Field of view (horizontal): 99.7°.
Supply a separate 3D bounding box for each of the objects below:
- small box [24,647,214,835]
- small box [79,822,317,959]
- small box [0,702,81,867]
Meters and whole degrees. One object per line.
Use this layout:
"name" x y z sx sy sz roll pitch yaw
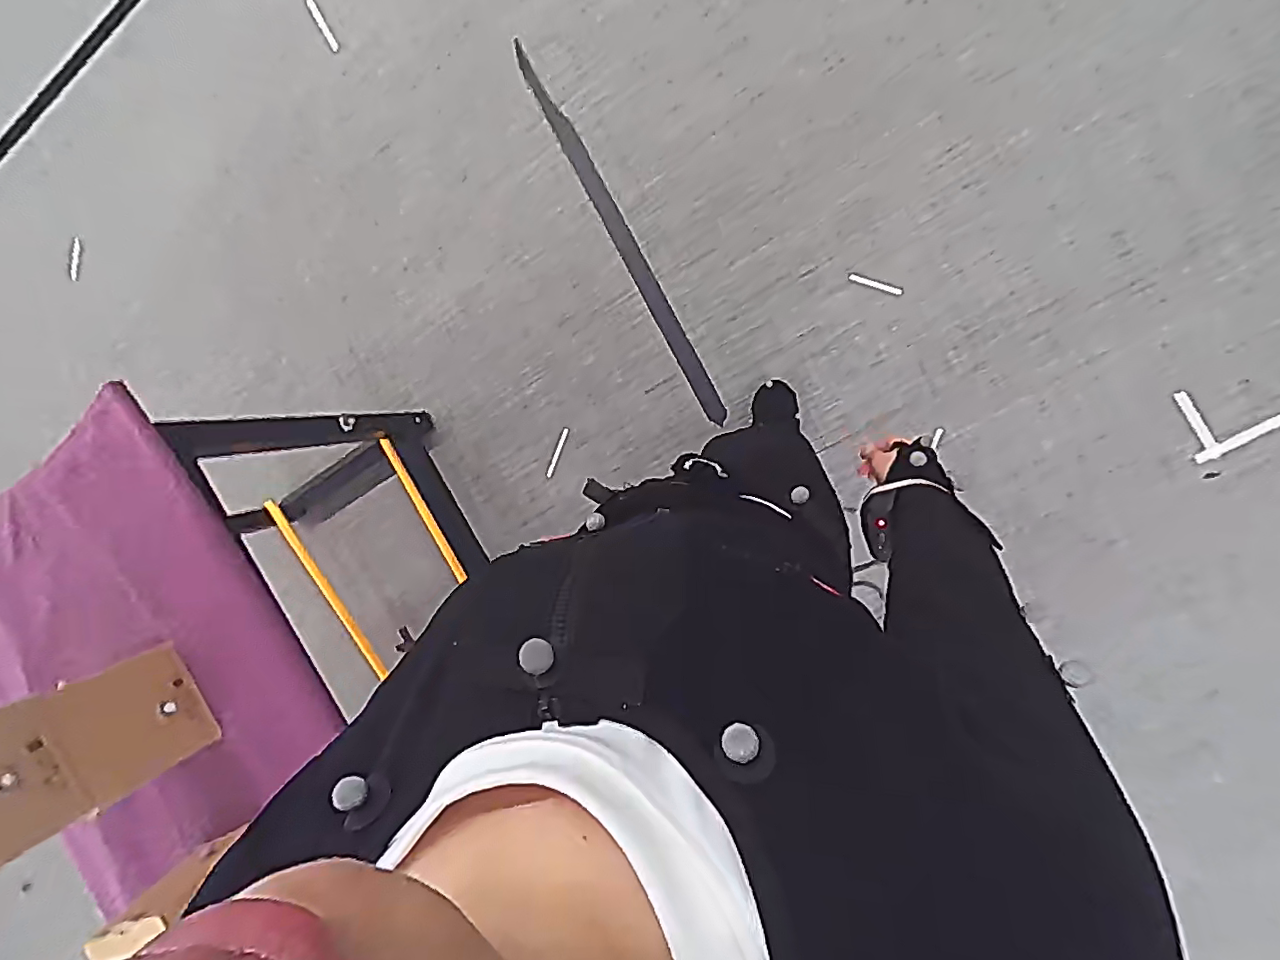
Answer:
"small box" -0.766 0.367 0.762 0.179 0.176 0.168 -27 92 13
"small box" -0.610 0.639 0.767 0.168 0.176 0.179 -29 90 14
"small box" -0.801 0.384 0.602 0.179 0.176 0.168 -27 92 14
